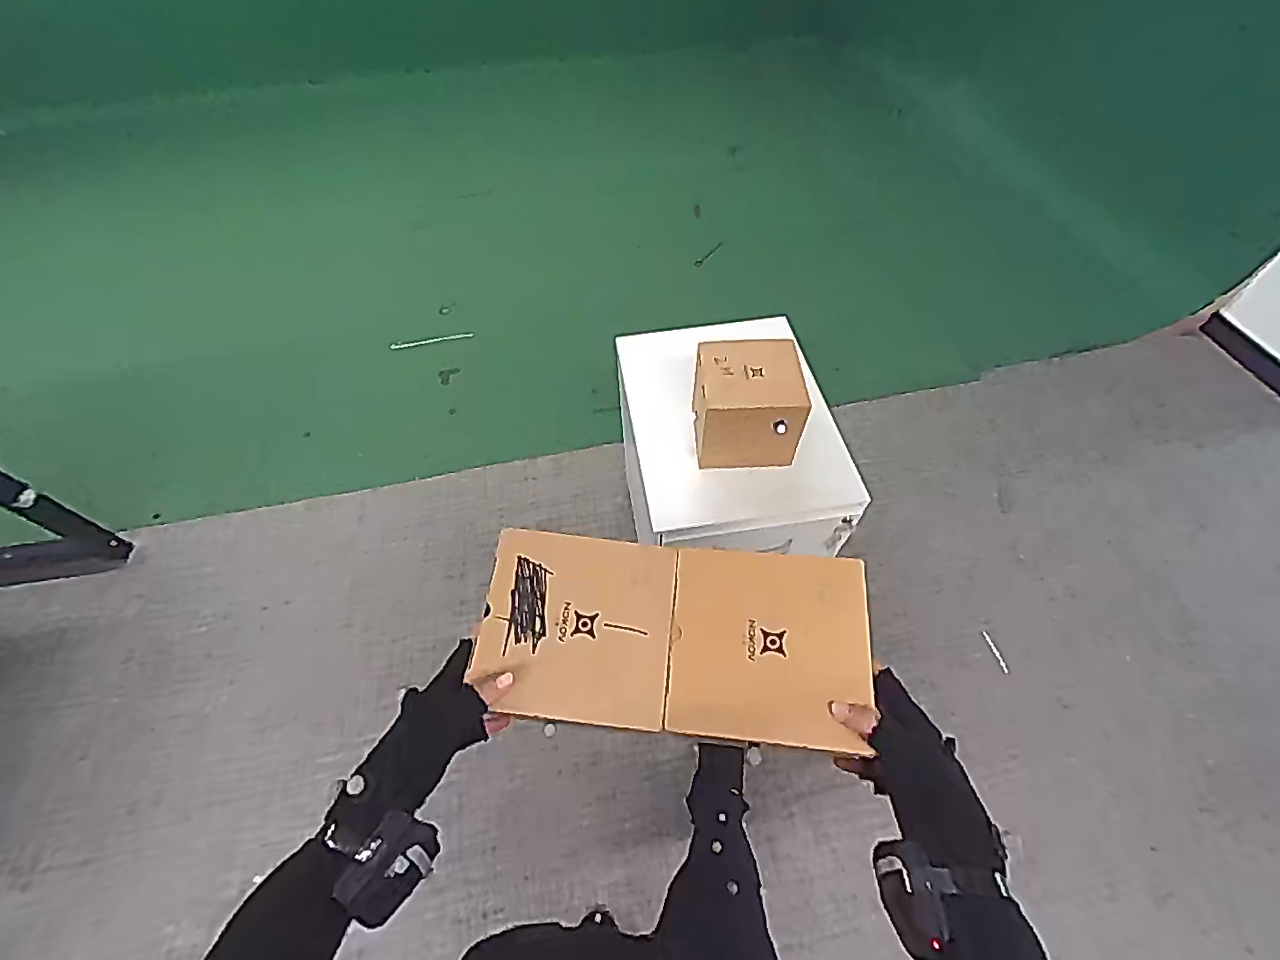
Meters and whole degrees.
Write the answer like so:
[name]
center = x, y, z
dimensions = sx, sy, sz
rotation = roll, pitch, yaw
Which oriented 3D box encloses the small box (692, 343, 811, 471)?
[small box]
center = 0.191, -0.129, 0.986
dimensions = 0.179, 0.176, 0.168
rotation = -2, 55, 1
